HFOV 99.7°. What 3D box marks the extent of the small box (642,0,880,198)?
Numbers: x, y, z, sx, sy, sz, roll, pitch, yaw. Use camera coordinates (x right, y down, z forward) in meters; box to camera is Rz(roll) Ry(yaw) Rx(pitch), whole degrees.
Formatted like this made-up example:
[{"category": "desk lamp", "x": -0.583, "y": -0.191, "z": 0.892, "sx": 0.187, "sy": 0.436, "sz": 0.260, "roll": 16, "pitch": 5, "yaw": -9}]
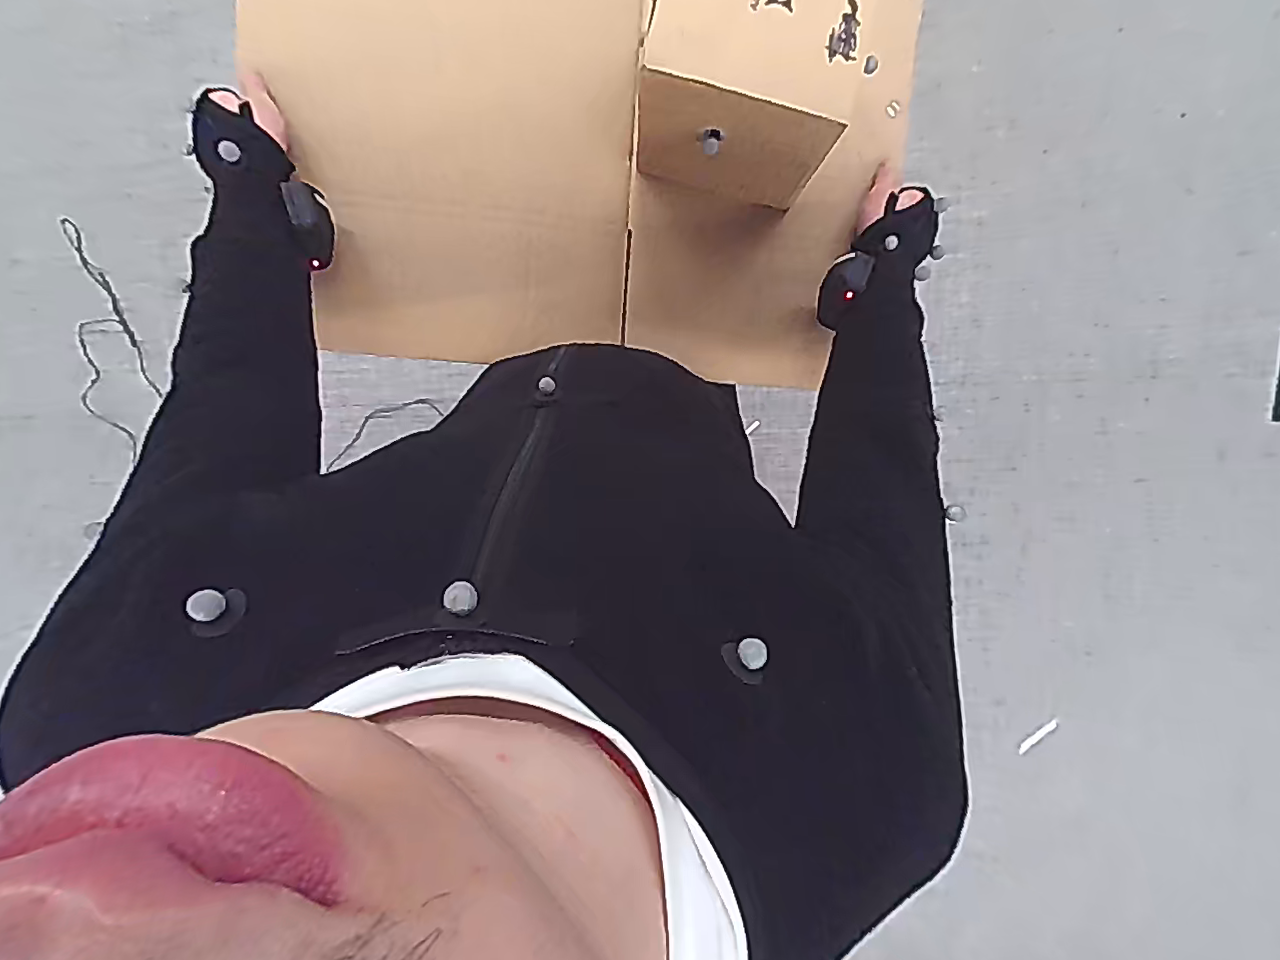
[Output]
[{"category": "small box", "x": 0.104, "y": -0.396, "z": 0.509, "sx": 0.179, "sy": 0.176, "sz": 0.168, "roll": 14, "pitch": 95, "yaw": -1}]
